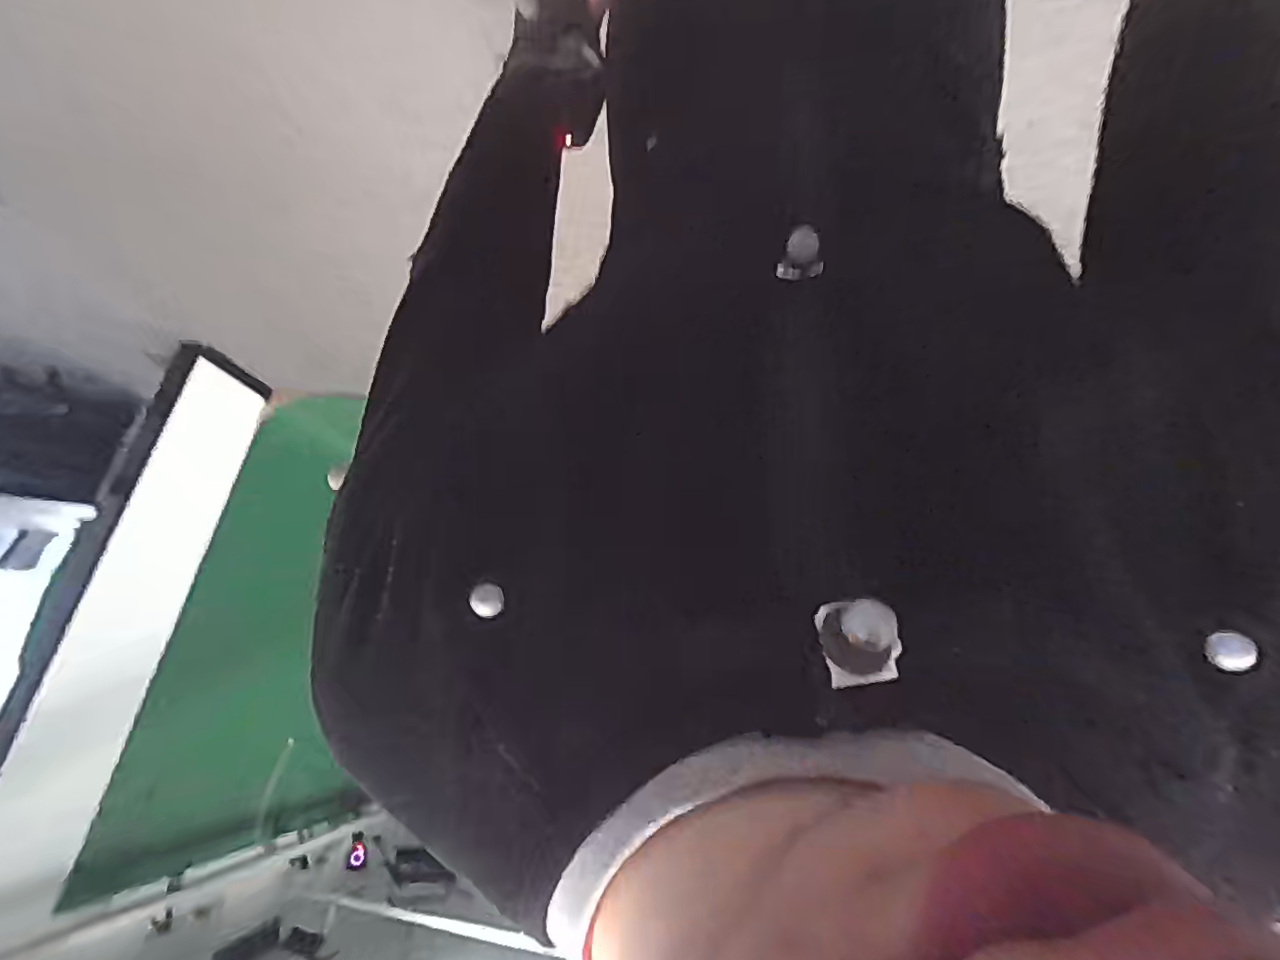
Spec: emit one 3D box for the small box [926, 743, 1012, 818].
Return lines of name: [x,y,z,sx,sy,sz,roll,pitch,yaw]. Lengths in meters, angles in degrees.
small box: [1.010,0.925,1.675,0.179,0.176,0.168,3,159,9]
